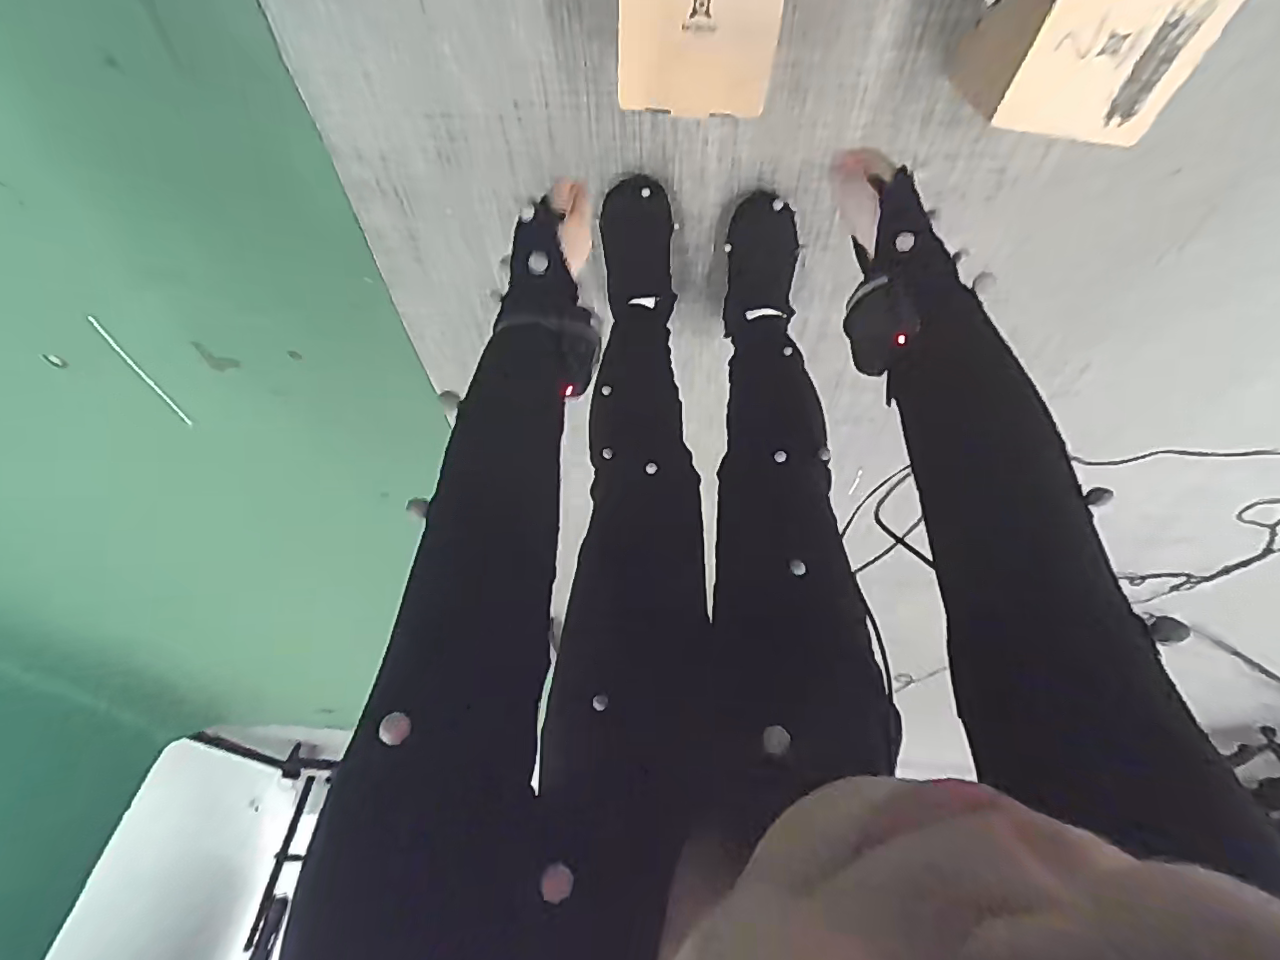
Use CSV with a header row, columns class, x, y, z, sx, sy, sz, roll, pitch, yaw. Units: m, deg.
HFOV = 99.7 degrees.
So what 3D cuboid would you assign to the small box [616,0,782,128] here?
class,x,y,z,sx,sy,sz,roll,pitch,yaw
small box,0.064,-0.528,0.600,0.168,0.176,0.179,4,143,0
